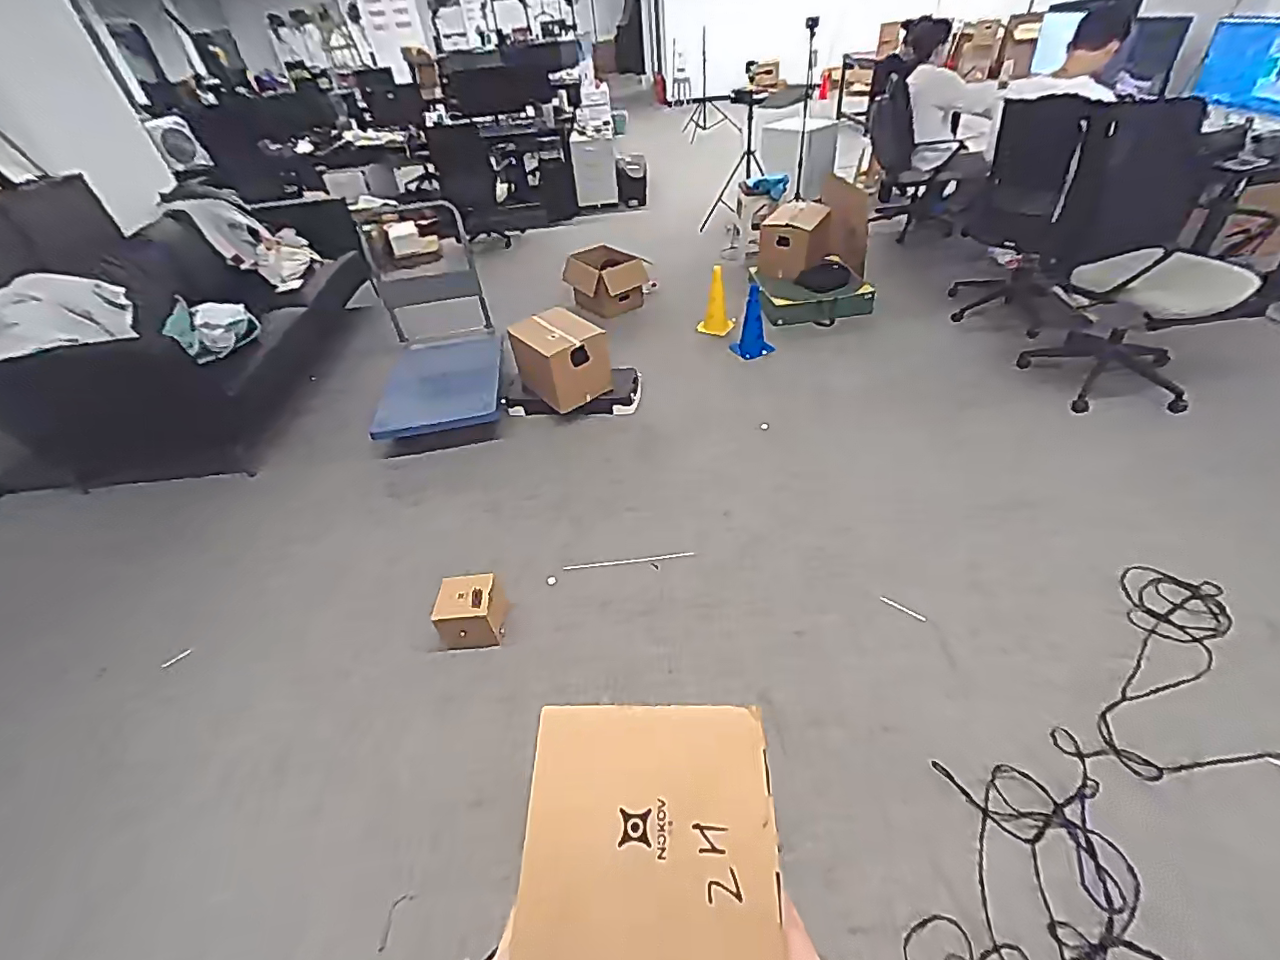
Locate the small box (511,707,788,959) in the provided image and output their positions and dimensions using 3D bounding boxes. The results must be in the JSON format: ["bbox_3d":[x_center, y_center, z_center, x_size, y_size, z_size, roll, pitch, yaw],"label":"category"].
[{"bbox_3d":[0.016,0.291,0.438,0.179,0.176,0.168,-2,55,6],"label":"small box"}]

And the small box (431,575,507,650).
[{"bbox_3d":[-0.544,0.431,1.751,0.179,0.176,0.168,-6,41,3],"label":"small box"}]
